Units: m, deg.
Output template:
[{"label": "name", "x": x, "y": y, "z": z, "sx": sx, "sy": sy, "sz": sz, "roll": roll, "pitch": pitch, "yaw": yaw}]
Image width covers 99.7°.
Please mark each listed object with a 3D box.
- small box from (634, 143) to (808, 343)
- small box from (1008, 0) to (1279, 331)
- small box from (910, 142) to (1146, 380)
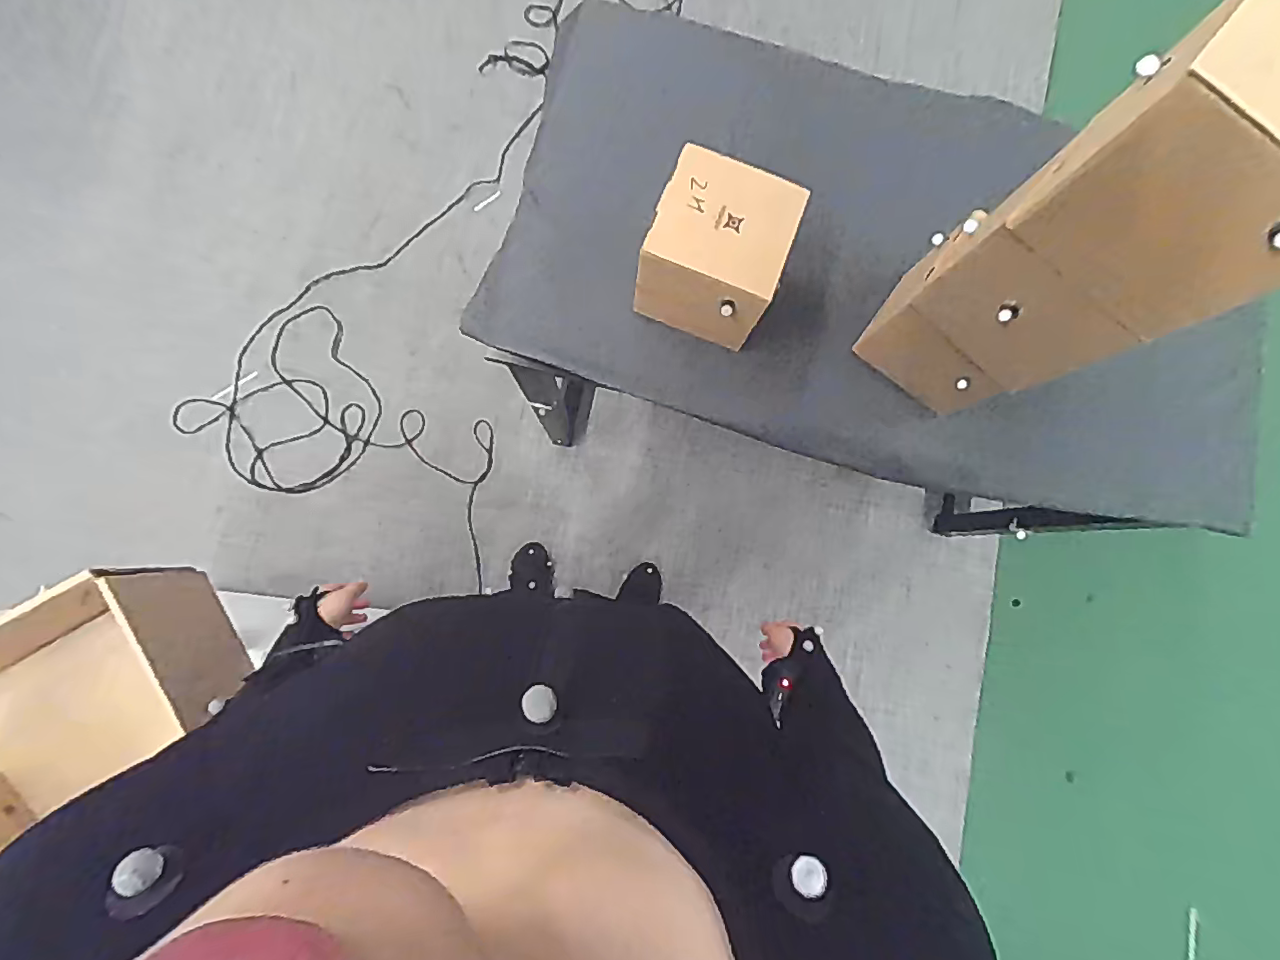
[{"label": "small box", "x": 0.101, "y": -0.314, "z": 0.756, "sx": 0.179, "sy": 0.176, "sz": 0.168, "roll": 21, "pitch": 81, "yaw": 0}, {"label": "small box", "x": 0.458, "y": -0.255, "z": 0.438, "sx": 0.179, "sy": 0.176, "sz": 0.168, "roll": 42, "pitch": 81, "yaw": 2}, {"label": "small box", "x": 0.450, "y": -0.233, "z": 0.599, "sx": 0.179, "sy": 0.176, "sz": 0.168, "roll": 44, "pitch": 82, "yaw": 3}]
